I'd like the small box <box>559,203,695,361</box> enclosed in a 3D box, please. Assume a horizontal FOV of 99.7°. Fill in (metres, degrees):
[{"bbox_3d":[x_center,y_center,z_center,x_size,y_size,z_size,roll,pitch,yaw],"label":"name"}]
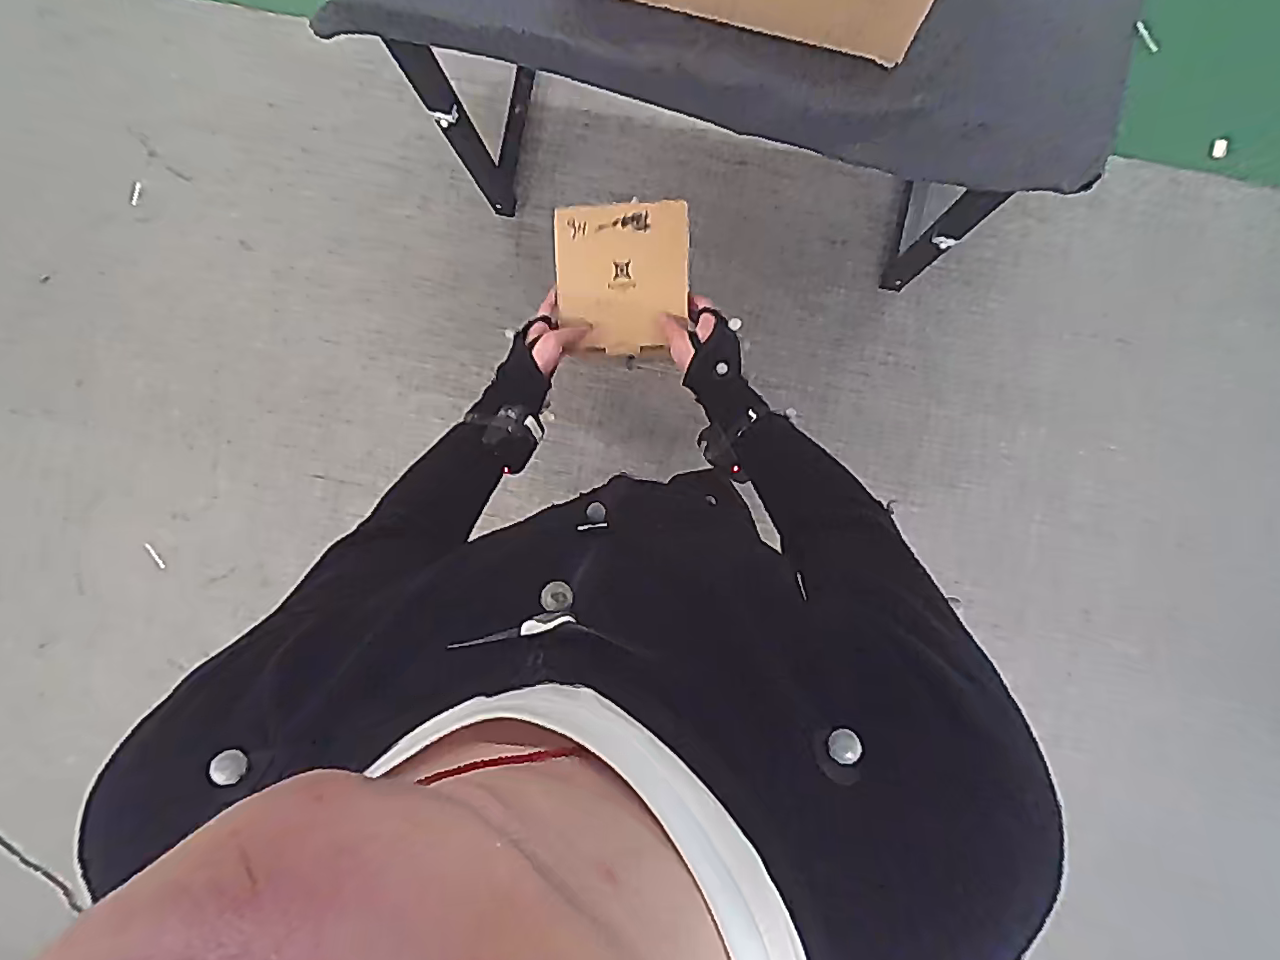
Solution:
[{"bbox_3d":[-0.009,-0.263,0.760,0.168,0.176,0.179,-3,97,6],"label":"small box"}]
